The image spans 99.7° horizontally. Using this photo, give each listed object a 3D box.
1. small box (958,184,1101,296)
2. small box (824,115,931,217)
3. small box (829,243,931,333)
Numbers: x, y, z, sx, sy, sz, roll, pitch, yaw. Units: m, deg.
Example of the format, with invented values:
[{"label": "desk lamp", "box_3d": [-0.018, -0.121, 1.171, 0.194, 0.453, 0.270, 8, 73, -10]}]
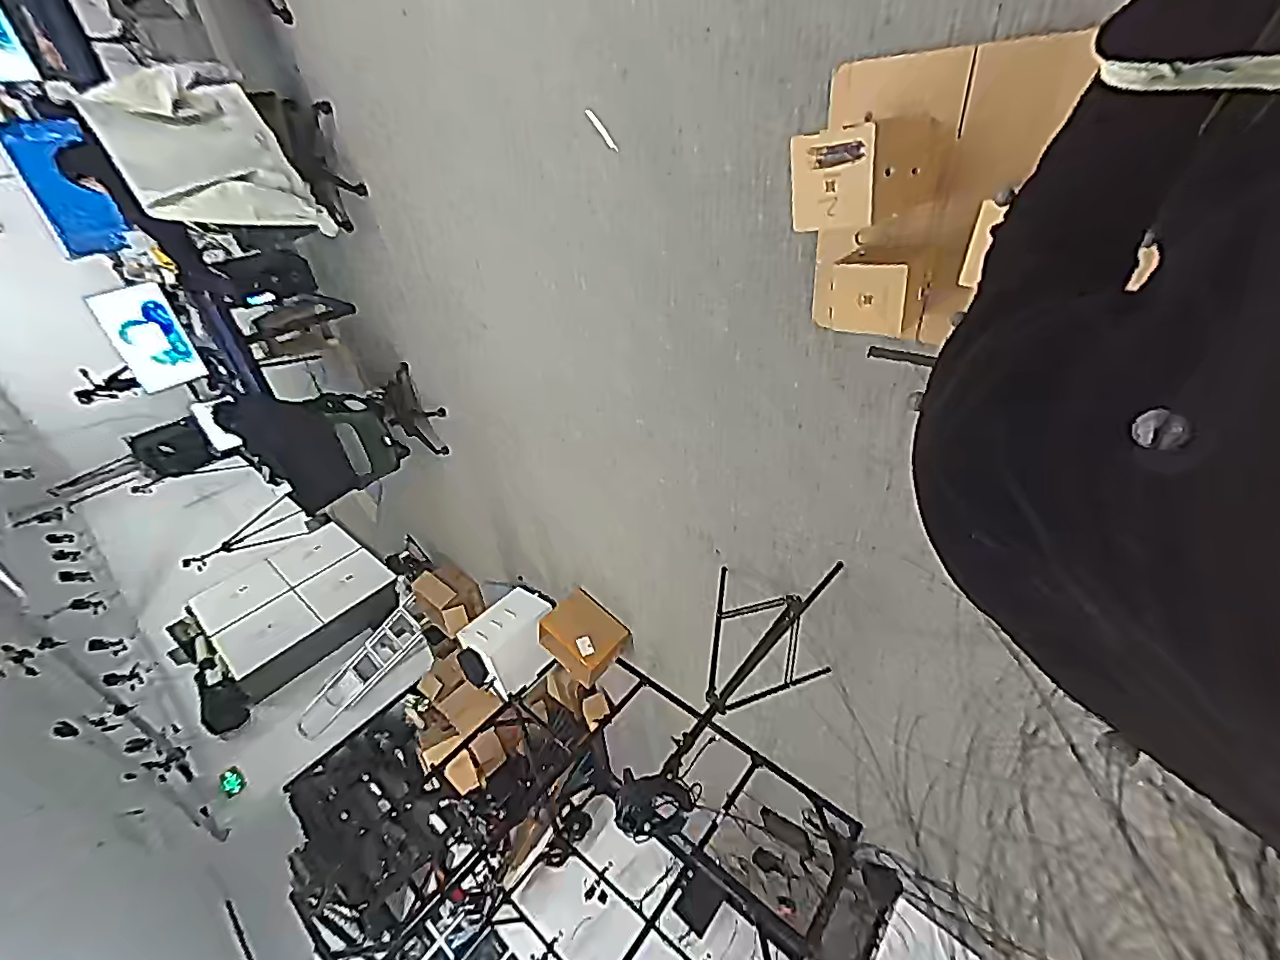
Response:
[{"label": "small box", "box_3d": [0.779, -0.487, 1.084, 0.179, 0.176, 0.168, 24, 135, 31]}, {"label": "small box", "box_3d": [0.525, -0.693, 1.193, 0.168, 0.176, 0.179, 19, 132, 38]}, {"label": "small box", "box_3d": [0.581, -0.471, 1.316, 0.179, 0.176, 0.168, 17, 133, 38]}]
